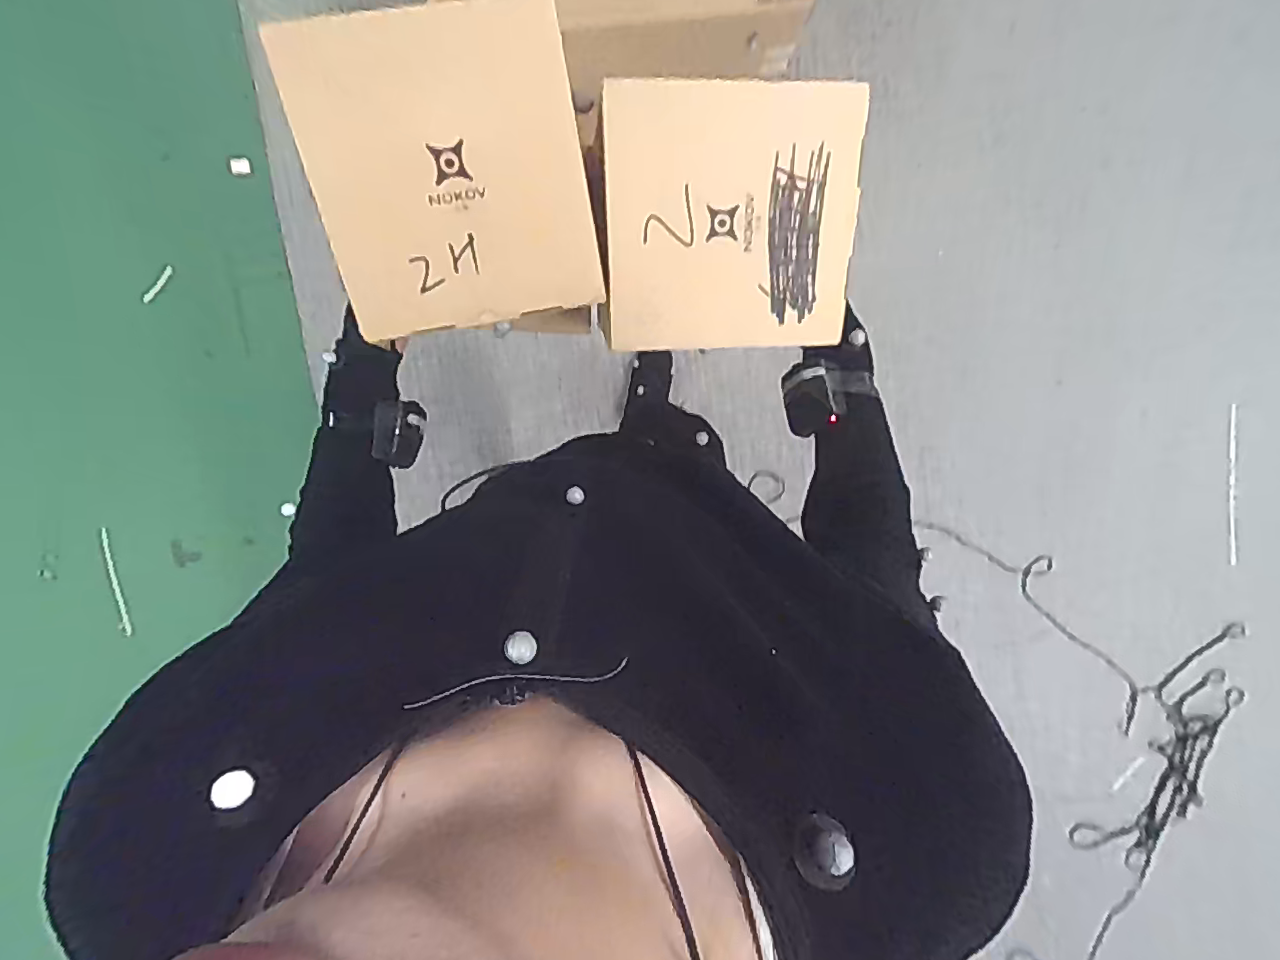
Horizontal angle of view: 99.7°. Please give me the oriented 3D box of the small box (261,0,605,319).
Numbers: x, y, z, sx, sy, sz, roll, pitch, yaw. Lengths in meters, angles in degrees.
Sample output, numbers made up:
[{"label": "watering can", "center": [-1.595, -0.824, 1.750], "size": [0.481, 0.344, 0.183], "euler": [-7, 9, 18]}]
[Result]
[{"label": "small box", "center": [-0.127, -0.223, 0.401], "size": [0.168, 0.176, 0.179], "euler": [-11, 111, -5]}]
